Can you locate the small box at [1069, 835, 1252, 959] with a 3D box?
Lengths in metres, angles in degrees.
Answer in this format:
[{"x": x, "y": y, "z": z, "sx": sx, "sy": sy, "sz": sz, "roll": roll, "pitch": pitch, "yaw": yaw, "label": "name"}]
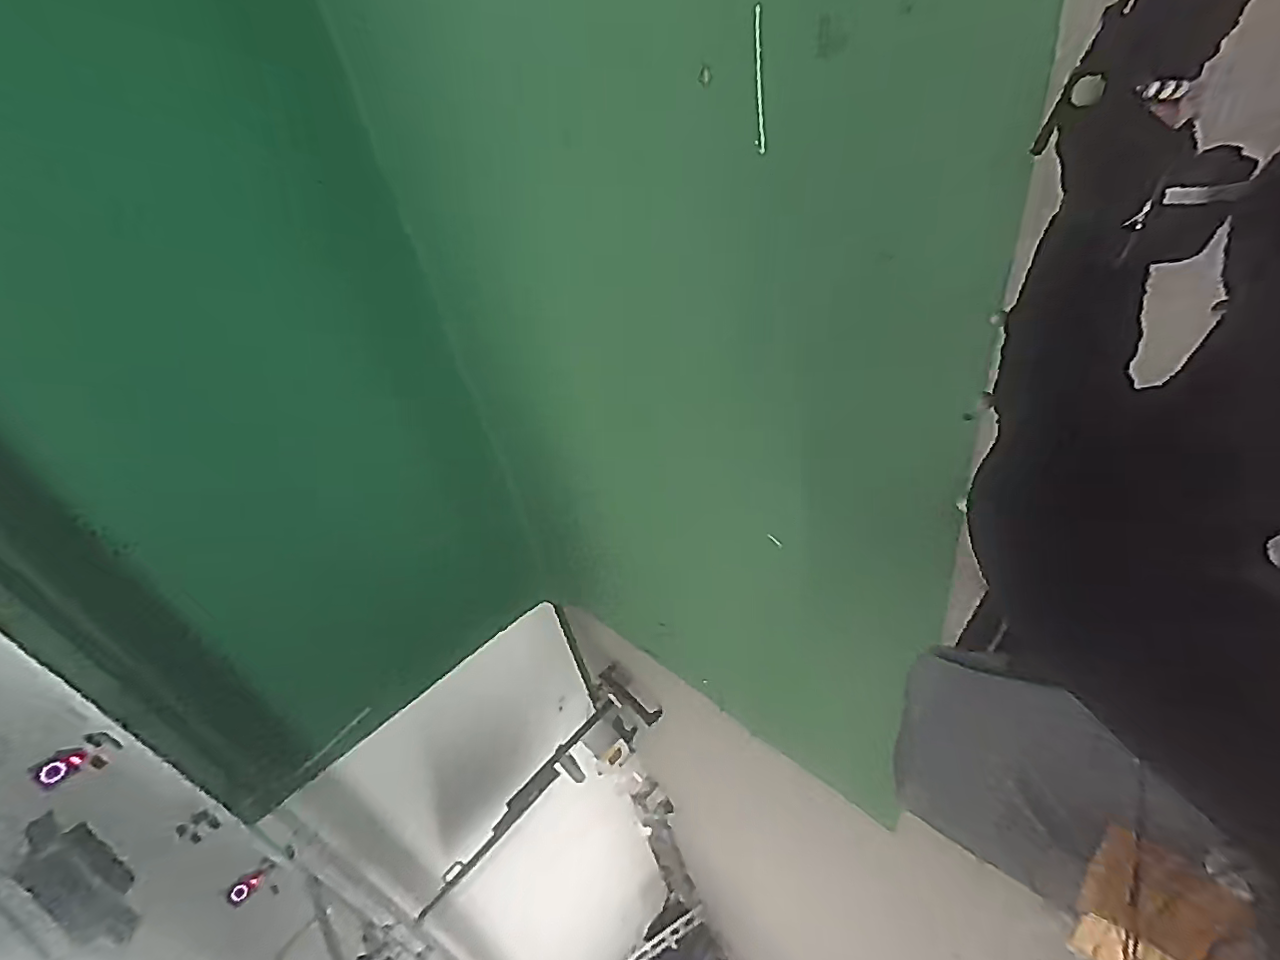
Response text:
[{"x": 0.831, "y": 0.729, "z": 0.868, "sx": 0.168, "sy": 0.176, "sz": 0.179, "roll": 21, "pitch": 136, "yaw": 42, "label": "small box"}]
